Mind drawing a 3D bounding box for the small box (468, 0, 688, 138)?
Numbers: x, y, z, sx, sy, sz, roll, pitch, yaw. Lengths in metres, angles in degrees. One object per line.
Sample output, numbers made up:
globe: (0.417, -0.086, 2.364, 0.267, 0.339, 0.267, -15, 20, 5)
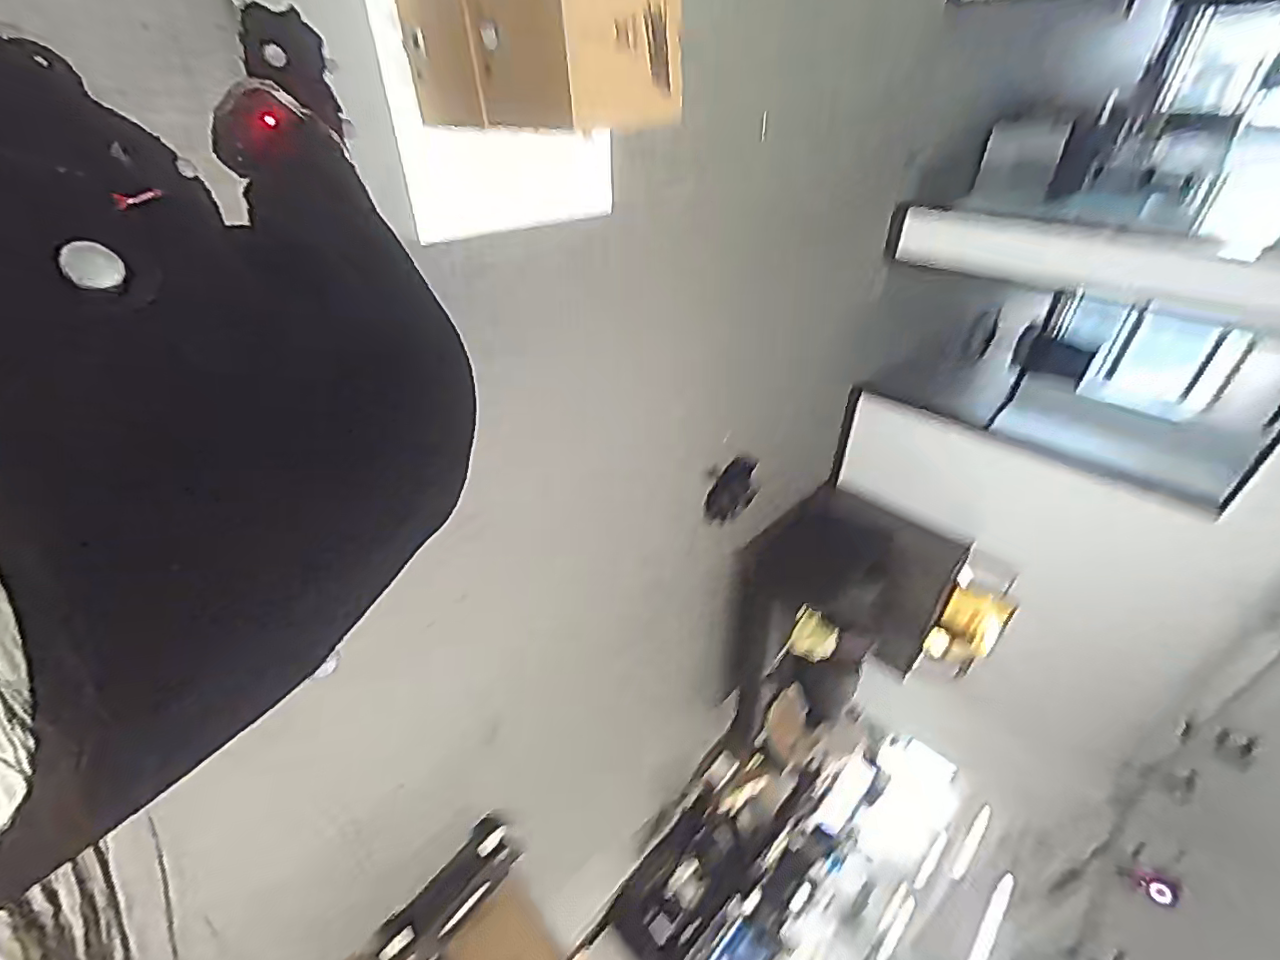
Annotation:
small box: (-0.065, -0.497, 0.603, 0.179, 0.176, 0.168, -37, 139, -30)

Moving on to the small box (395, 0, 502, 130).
small box: (-0.184, -0.560, 0.697, 0.179, 0.176, 0.168, -32, 135, -31)
